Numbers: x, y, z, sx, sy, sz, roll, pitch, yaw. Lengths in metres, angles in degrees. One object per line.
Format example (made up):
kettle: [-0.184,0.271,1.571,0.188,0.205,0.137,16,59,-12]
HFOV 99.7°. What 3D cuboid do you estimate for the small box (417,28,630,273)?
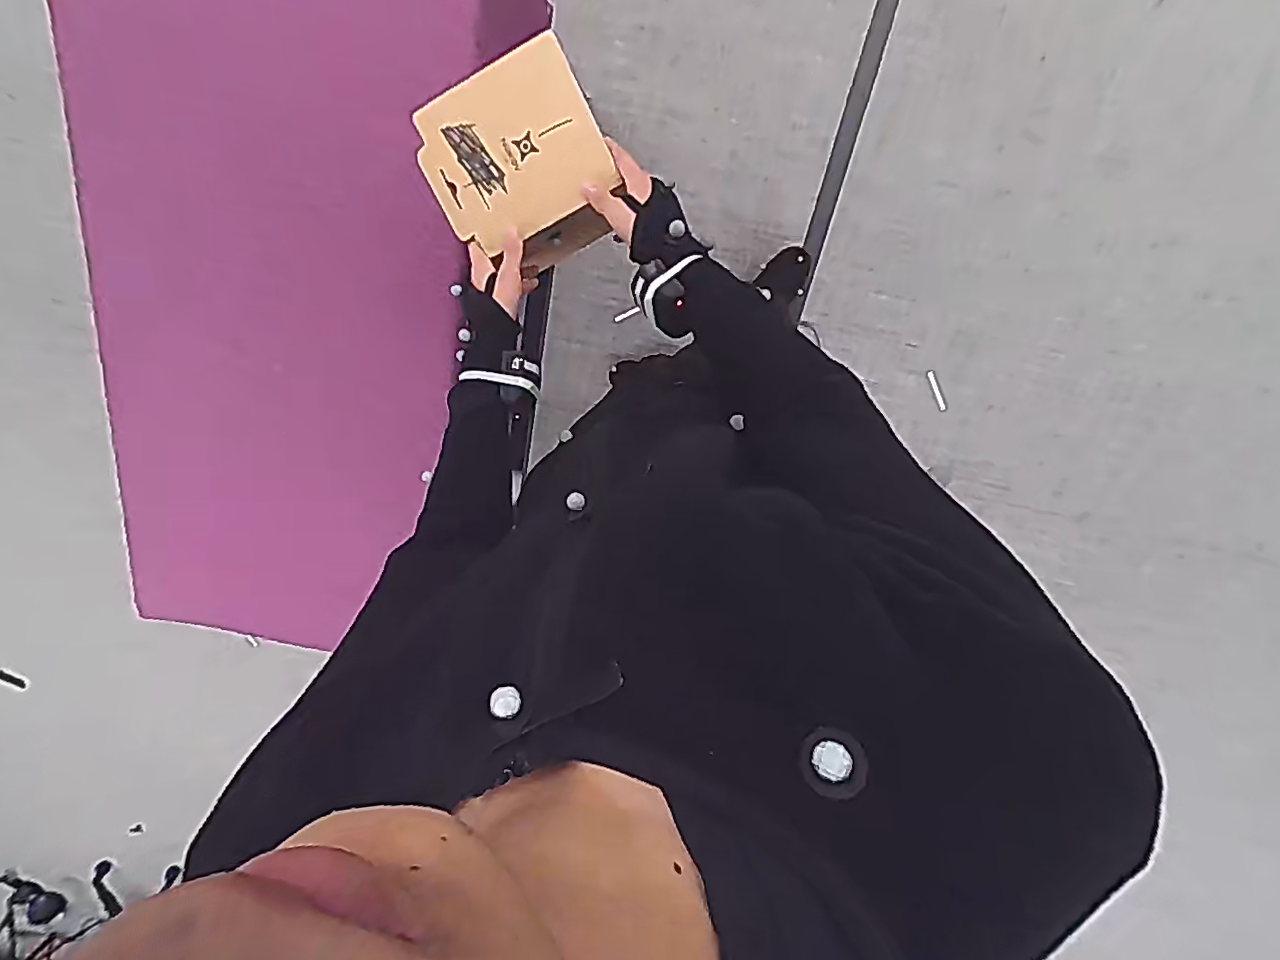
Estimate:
small box: [-0.124,-0.373,0.655,0.179,0.176,0.168,-26,101,7]
